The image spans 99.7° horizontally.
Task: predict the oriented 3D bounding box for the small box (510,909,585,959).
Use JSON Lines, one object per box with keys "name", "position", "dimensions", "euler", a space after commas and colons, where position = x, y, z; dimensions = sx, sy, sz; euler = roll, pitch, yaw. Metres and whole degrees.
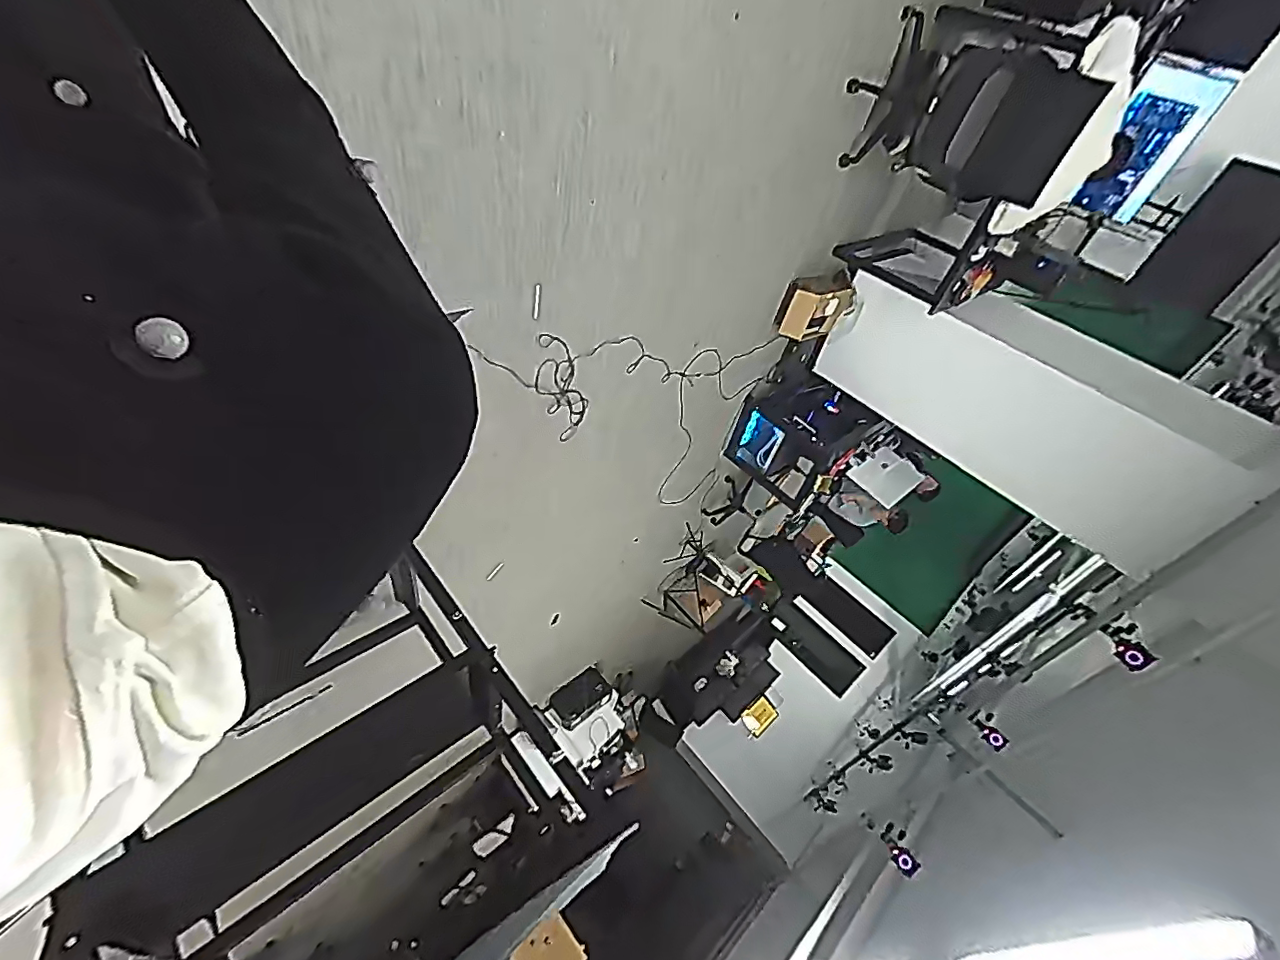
{"name": "small box", "position": [-0.294, 1.498, 1.696], "dimensions": [0.168, 0.176, 0.179], "euler": [-28, 147, -34]}
